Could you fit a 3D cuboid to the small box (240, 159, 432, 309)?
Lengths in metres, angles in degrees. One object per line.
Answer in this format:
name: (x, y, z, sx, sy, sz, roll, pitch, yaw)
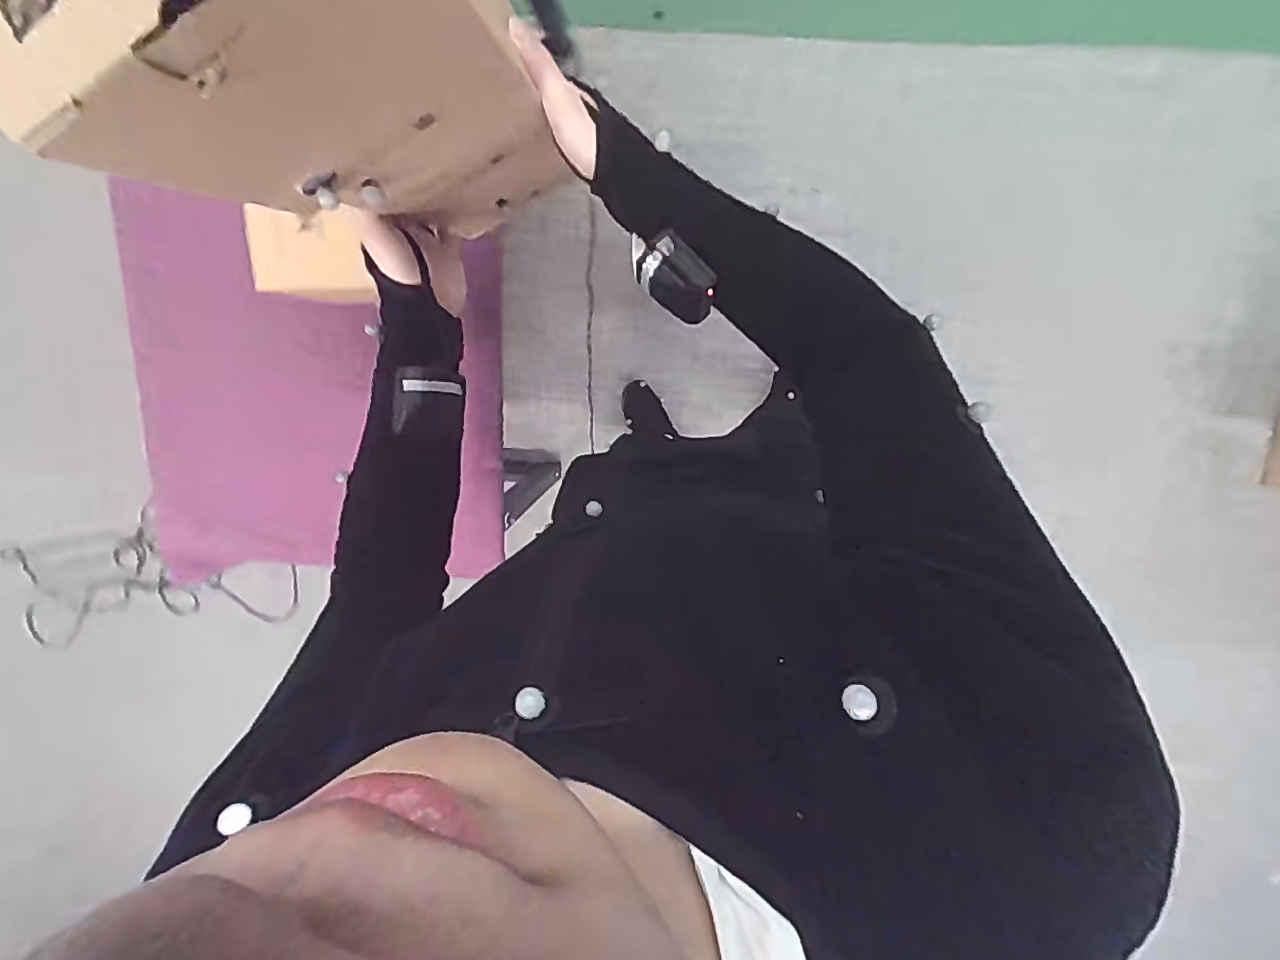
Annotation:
small box: (-0.416, -0.339, 0.774, 0.179, 0.176, 0.168, 1, 102, 7)
